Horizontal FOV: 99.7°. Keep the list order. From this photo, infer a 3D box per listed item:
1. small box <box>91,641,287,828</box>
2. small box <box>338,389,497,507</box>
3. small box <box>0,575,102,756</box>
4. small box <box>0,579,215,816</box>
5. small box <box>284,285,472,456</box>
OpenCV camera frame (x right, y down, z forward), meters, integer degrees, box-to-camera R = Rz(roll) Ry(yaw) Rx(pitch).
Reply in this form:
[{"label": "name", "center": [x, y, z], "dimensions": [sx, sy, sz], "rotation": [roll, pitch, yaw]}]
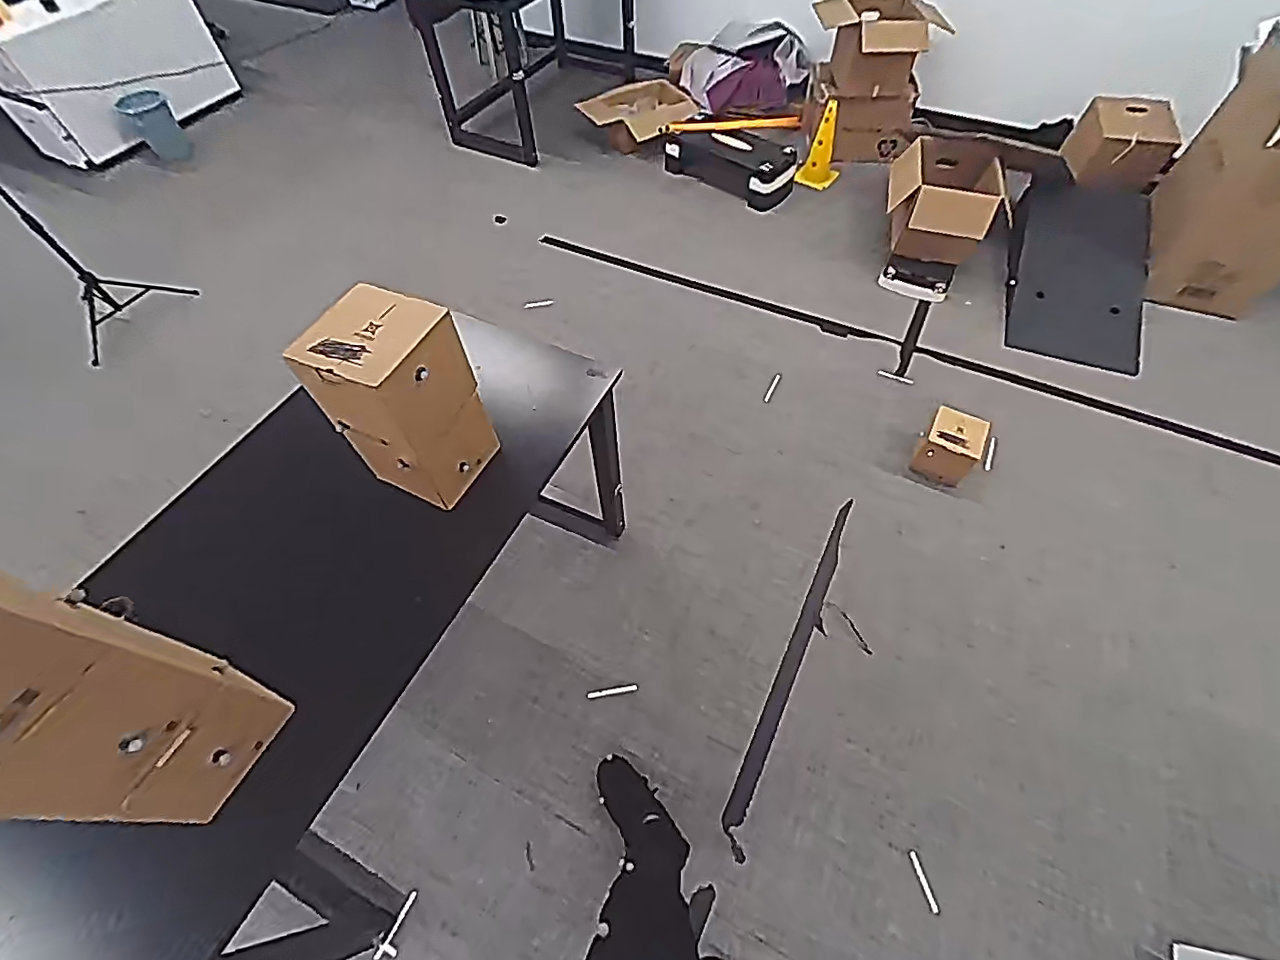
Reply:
[{"label": "small box", "center": [-0.624, 0.329, 0.715], "dimensions": [0.179, 0.176, 0.168], "rotation": [21, 60, 14]}, {"label": "small box", "center": [-0.389, -0.077, 0.977], "dimensions": [0.179, 0.176, 0.168], "rotation": [22, 60, 14]}, {"label": "small box", "center": [-0.629, 0.148, 0.442], "dimensions": [0.179, 0.176, 0.168], "rotation": [21, 61, 14]}, {"label": "small box", "center": [-0.627, 0.238, 0.578], "dimensions": [0.179, 0.176, 0.168], "rotation": [21, 60, 14]}, {"label": "small box", "center": [-0.386, -0.164, 0.838], "dimensions": [0.168, 0.176, 0.179], "rotation": [19, 59, 13]}]
